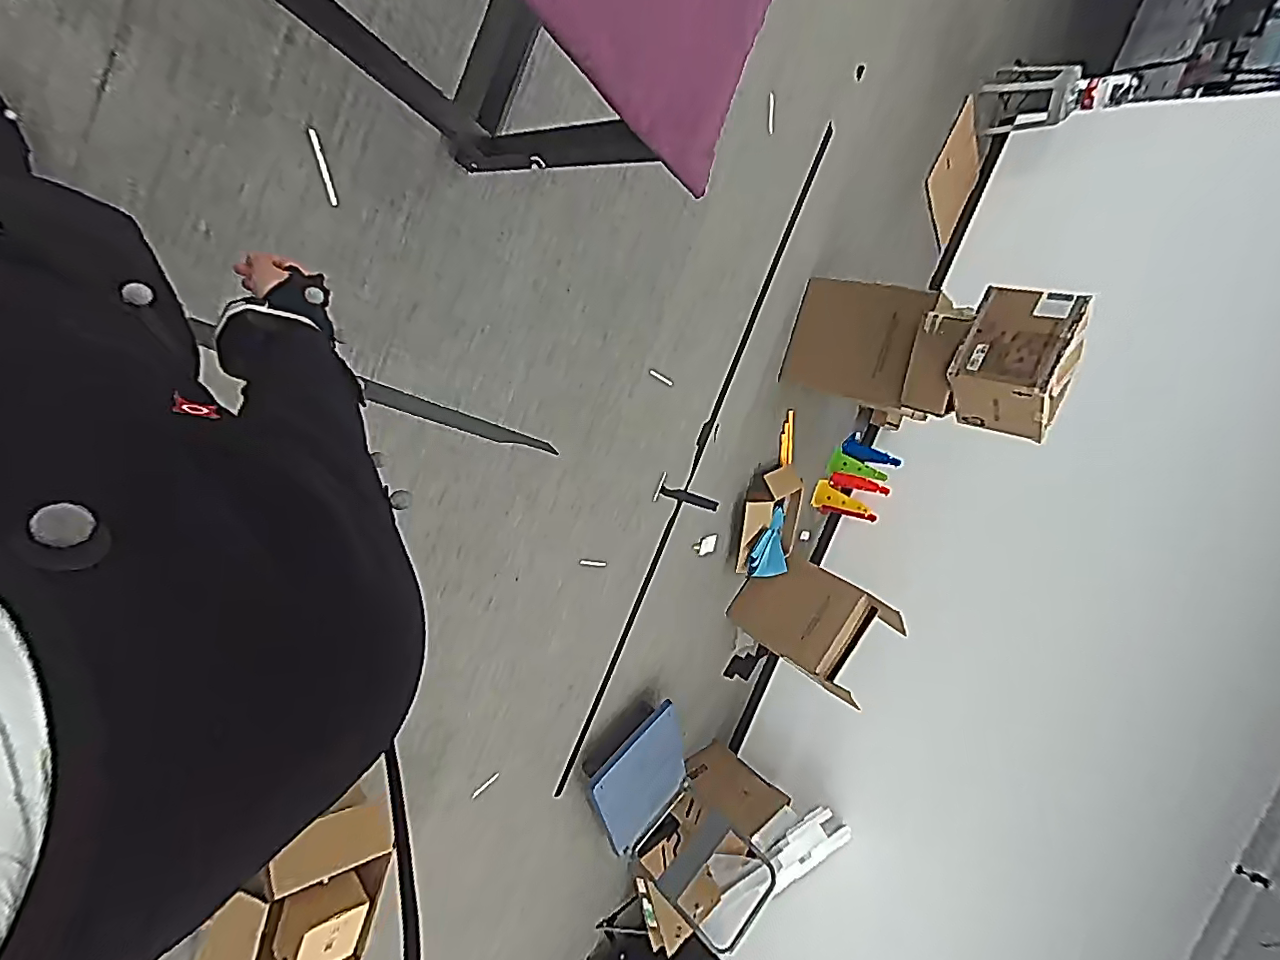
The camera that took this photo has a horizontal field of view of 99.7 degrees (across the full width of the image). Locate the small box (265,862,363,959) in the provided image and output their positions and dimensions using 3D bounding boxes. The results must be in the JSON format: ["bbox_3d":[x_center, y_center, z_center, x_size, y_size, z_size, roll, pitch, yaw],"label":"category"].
[{"bbox_3d":[-0.892,1.201,1.471,0.168,0.176,0.179,13,99,-52],"label":"small box"}]
